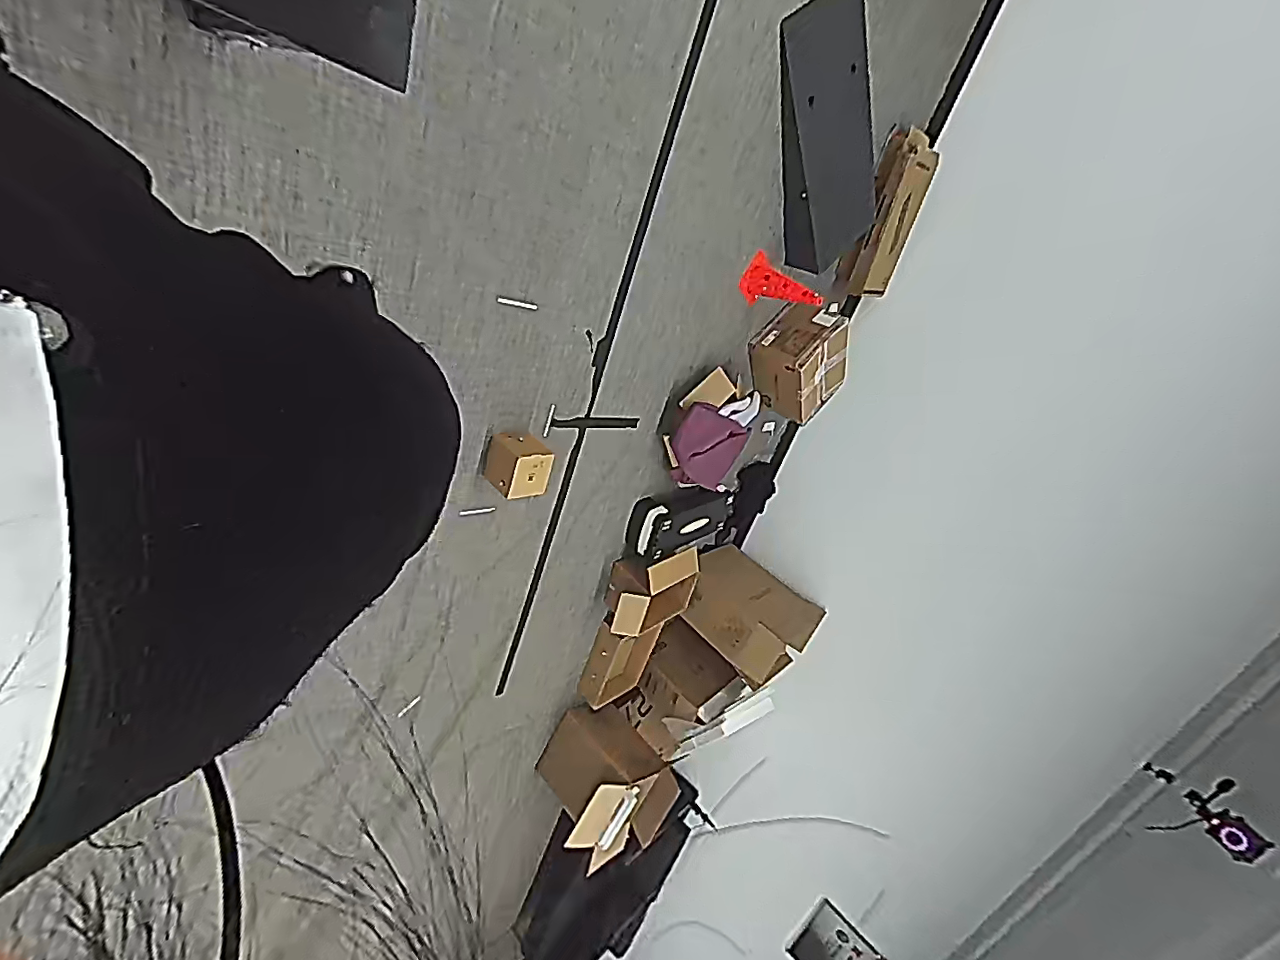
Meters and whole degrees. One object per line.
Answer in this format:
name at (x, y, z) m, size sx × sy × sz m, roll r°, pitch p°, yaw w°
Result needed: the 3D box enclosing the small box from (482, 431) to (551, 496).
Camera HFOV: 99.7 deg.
small box at (-0.459, -0.064, 1.986) m, size 0.168 × 0.176 × 0.179 m, roll -9°, pitch 127°, yaw -48°
